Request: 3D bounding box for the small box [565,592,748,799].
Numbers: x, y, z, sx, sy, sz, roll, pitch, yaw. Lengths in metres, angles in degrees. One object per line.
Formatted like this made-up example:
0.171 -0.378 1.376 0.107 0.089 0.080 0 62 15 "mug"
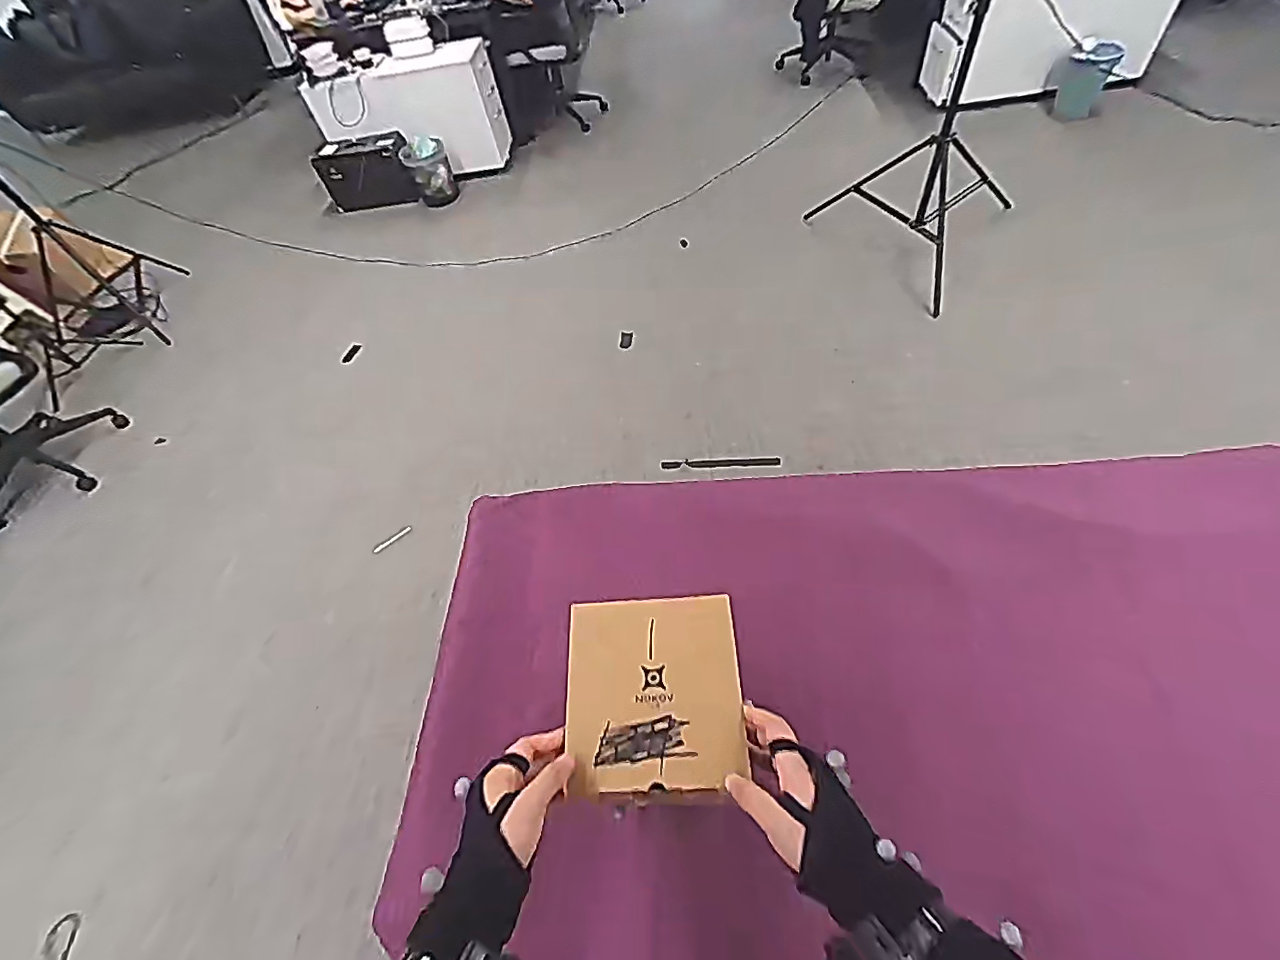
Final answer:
0.021 0.237 0.580 0.168 0.176 0.179 -5 55 4 "small box"
